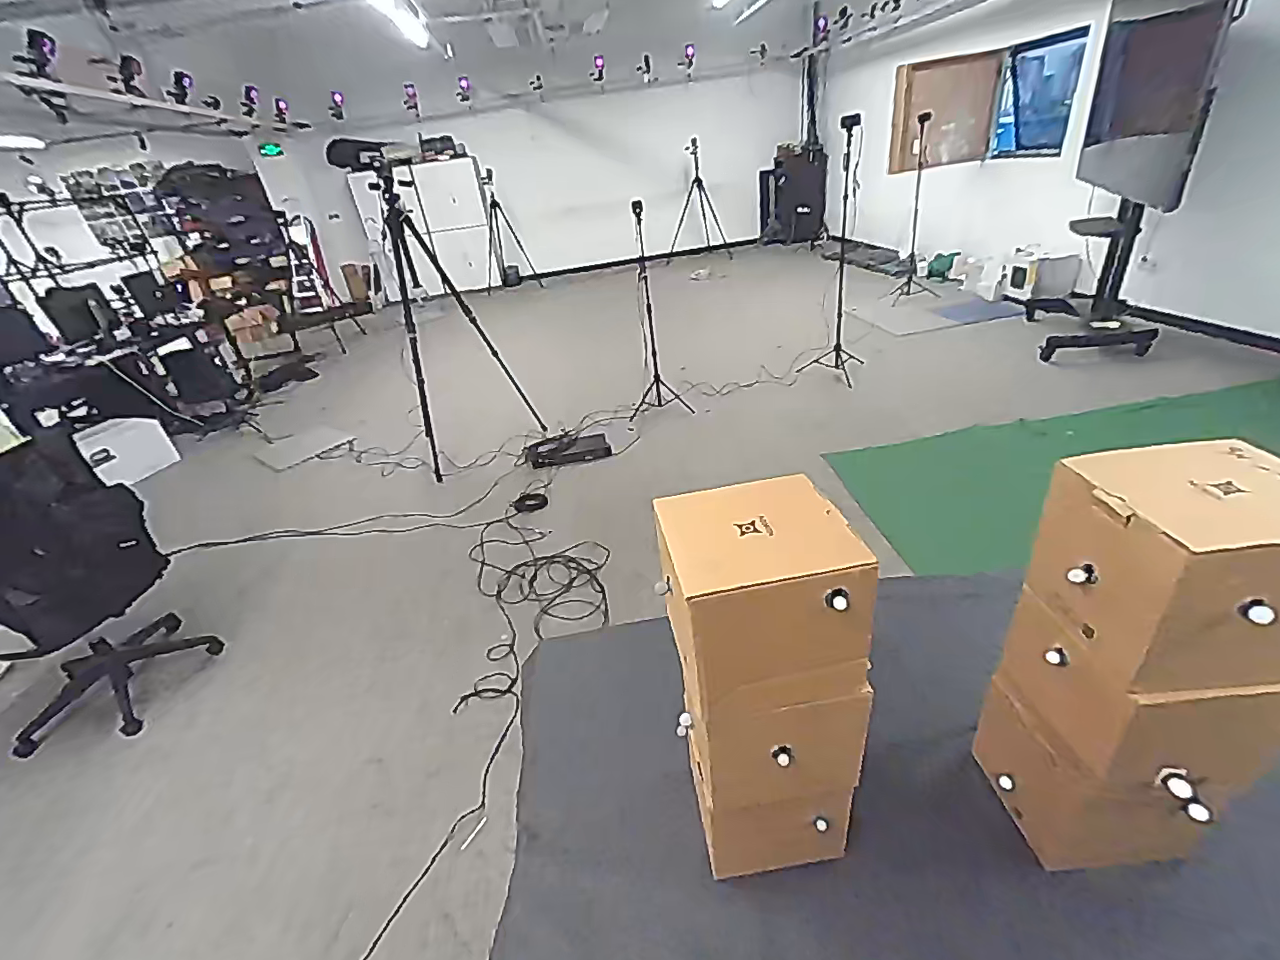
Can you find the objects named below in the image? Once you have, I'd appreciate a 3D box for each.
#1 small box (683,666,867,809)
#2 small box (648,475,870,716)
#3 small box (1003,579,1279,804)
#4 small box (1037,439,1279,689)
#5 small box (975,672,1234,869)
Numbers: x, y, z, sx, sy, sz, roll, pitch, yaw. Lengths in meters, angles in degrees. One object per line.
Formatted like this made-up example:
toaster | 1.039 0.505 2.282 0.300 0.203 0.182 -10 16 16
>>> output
small box | 0.145 0.256 0.645 0.179 0.176 0.168 -10 30 -2
small box | 0.114 0.118 0.565 0.179 0.176 0.168 -10 30 -4
small box | 0.543 0.222 0.600 0.168 0.176 0.179 -8 31 4
small box | 0.522 0.080 0.522 0.179 0.176 0.168 -7 30 6
small box | 0.566 0.358 0.687 0.179 0.176 0.168 -8 29 2
